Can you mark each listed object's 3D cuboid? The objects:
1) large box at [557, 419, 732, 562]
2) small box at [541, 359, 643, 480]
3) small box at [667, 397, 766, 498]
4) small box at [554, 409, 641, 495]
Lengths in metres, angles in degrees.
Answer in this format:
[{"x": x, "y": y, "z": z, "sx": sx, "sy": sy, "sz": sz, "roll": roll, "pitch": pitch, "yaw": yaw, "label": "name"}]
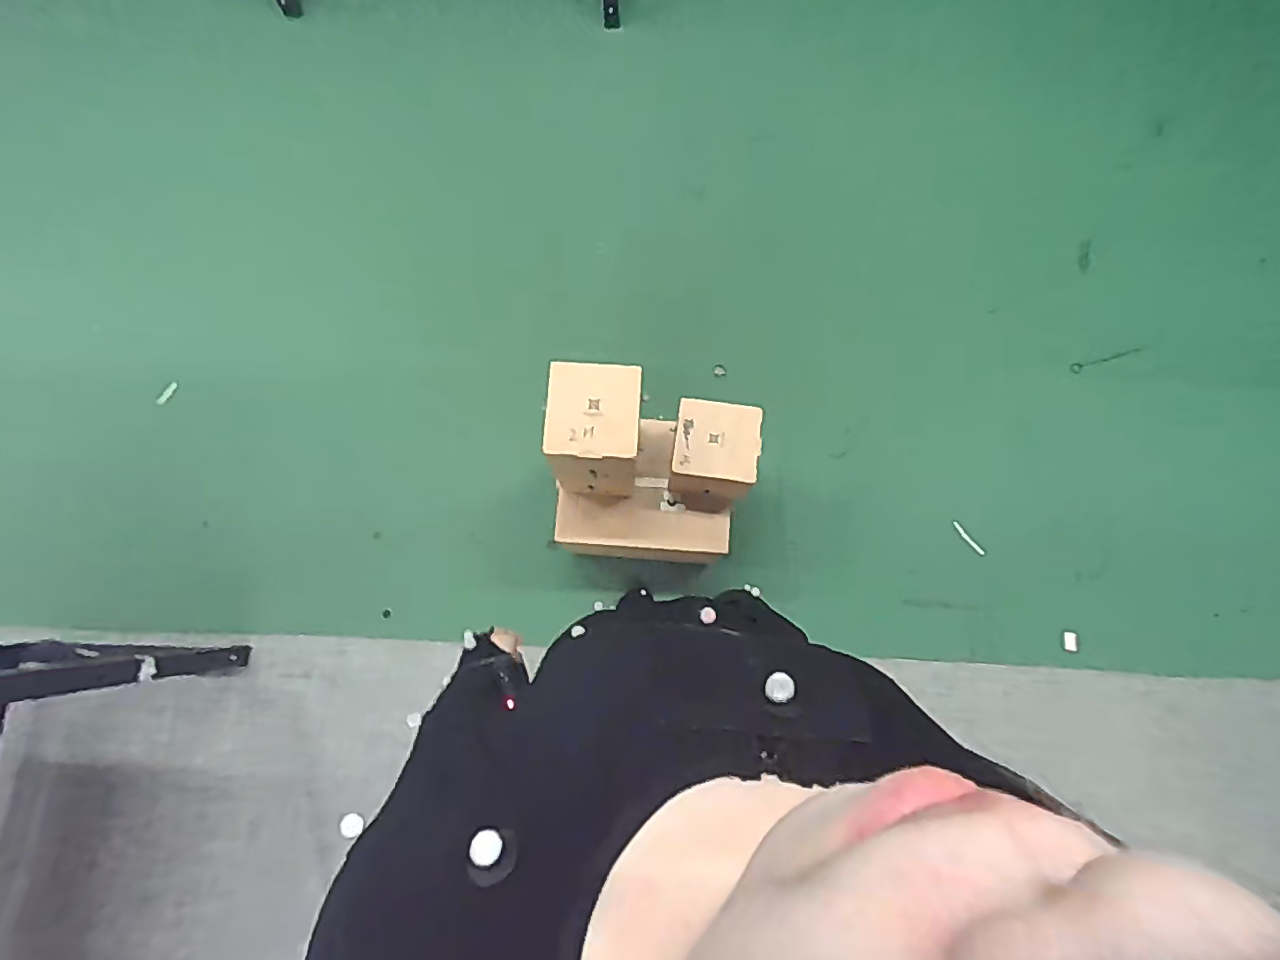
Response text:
[{"x": 0.012, "y": 0.037, "z": 1.401, "sx": 0.408, "sy": 0.320, "sz": 0.320, "roll": 4, "pitch": 78, "yaw": 0, "label": "large box"}, {"x": -0.084, "y": -0.108, "z": 1.016, "sx": 0.168, "sy": 0.176, "sz": 0.179, "roll": 3, "pitch": 77, "yaw": 0, "label": "small box"}, {"x": 0.160, "y": -0.062, "z": 1.173, "sx": 0.179, "sy": 0.176, "sz": 0.168, "roll": 9, "pitch": 76, "yaw": 2, "label": "small box"}, {"x": -0.088, "y": -0.073, "z": 1.177, "sx": 0.168, "sy": 0.176, "sz": 0.179, "roll": 4, "pitch": 77, "yaw": 0, "label": "small box"}]
